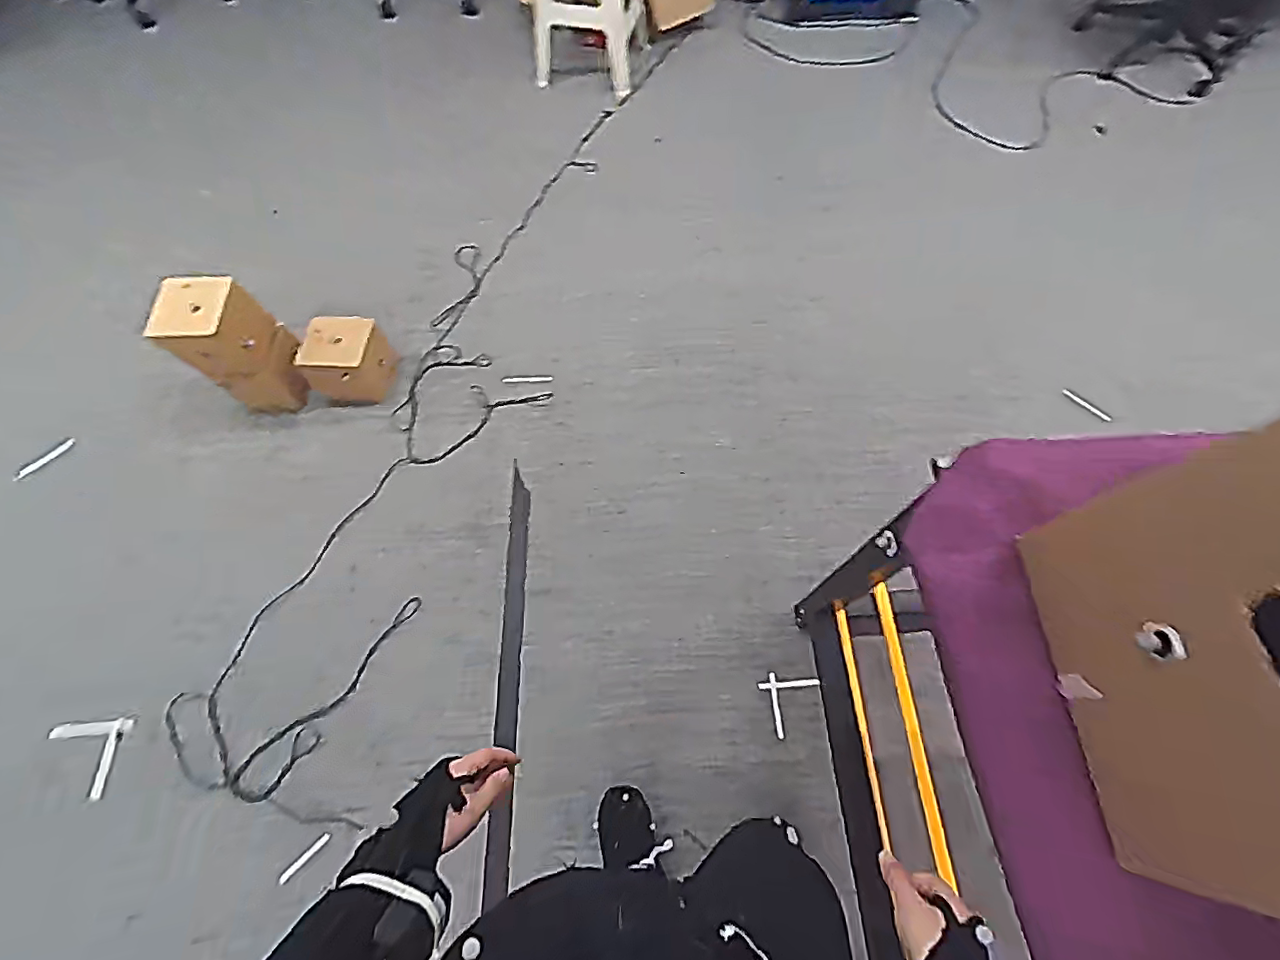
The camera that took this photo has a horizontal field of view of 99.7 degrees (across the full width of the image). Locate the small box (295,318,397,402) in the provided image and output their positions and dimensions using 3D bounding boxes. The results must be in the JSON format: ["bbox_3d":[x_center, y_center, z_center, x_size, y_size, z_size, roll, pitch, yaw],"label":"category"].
[{"bbox_3d":[-0.810,-0.331,1.515,0.179,0.176,0.168,2,64,2],"label":"small box"}]
